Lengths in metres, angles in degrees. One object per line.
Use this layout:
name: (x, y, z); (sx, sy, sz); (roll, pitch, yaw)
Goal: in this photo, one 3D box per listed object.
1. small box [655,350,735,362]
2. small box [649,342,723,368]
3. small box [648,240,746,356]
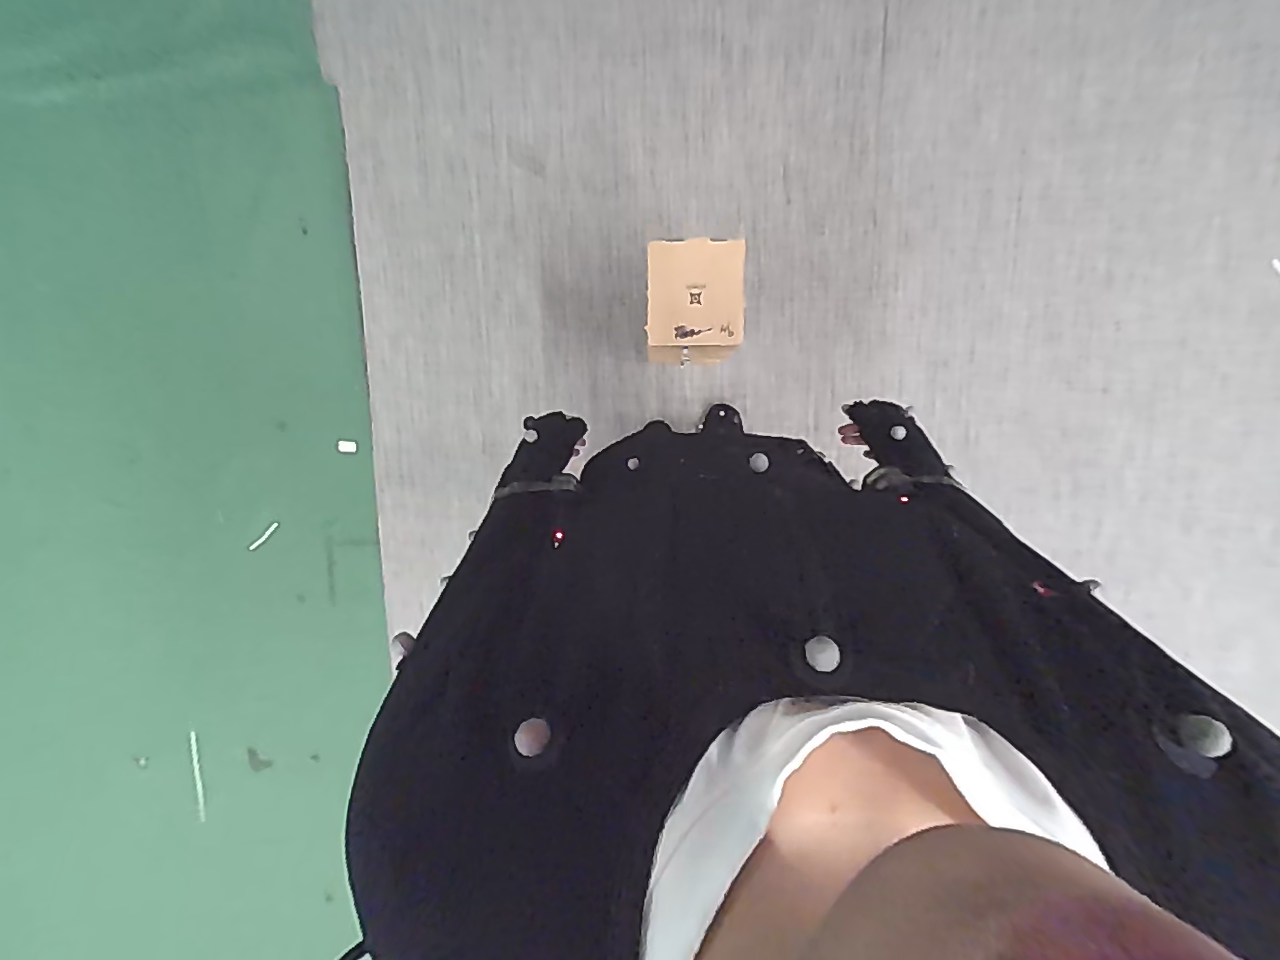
small box: (0.118, -0.350, 1.167); (0.168, 0.176, 0.179); (1, 99, 5)
small box: (0.113, -0.365, 1.328); (0.179, 0.176, 0.168); (2, 98, 4)
small box: (0.102, -0.329, 1.004); (0.168, 0.176, 0.179); (1, 98, 4)
